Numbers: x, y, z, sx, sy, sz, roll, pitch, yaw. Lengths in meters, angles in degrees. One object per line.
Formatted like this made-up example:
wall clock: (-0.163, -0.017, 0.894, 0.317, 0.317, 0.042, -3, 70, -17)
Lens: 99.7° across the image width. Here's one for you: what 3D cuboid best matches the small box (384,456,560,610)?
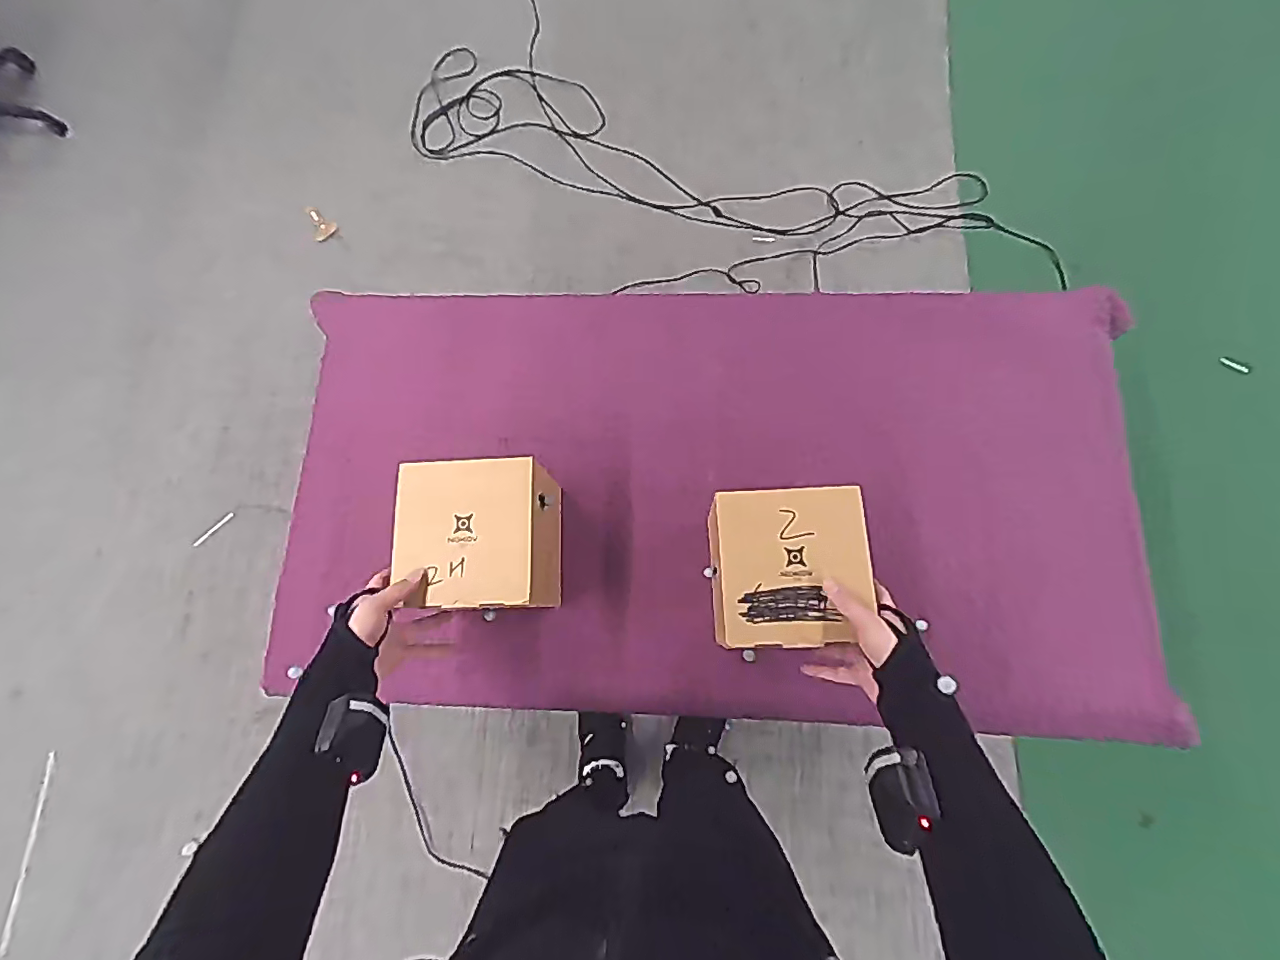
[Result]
small box: (-0.202, 0.077, 0.699, 0.168, 0.176, 0.179, -2, 76, 3)
